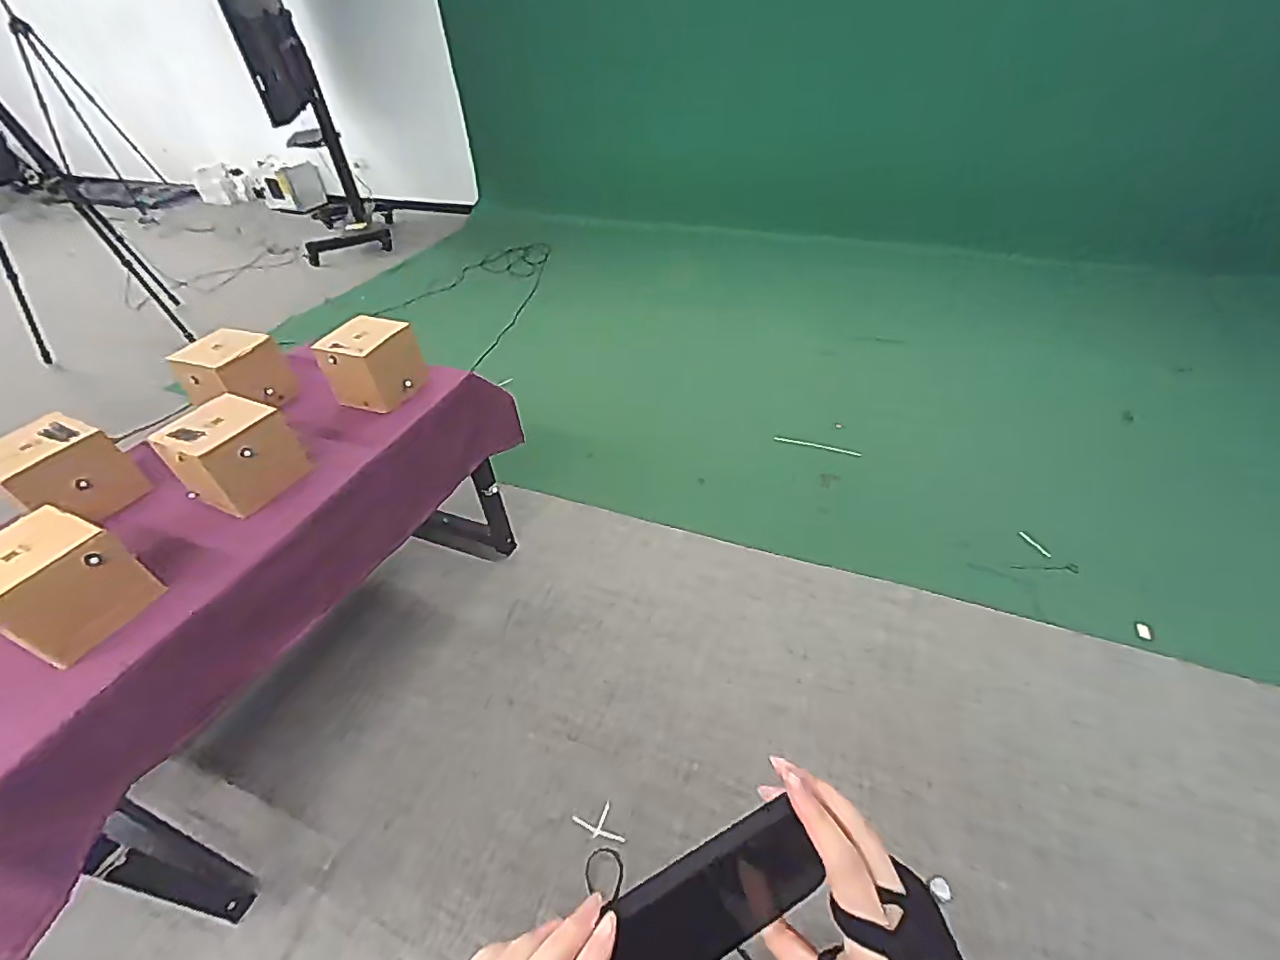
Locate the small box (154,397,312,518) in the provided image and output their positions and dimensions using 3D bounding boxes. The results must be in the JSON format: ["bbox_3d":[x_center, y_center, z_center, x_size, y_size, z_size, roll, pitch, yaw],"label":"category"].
[{"bbox_3d":[-0.844,-0.047,1.143,0.168,0.176,0.179,16,45,20],"label":"small box"}]

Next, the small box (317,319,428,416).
[{"bbox_3d":[-0.677,-0.292,1.397,0.168,0.176,0.179,12,45,18],"label":"small box"}]

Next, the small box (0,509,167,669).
[{"bbox_3d":[-0.965,0.182,0.903,0.168,0.176,0.179,14,44,19],"label":"small box"}]

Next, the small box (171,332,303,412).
[{"bbox_3d":[-1.020,-0.257,1.385,0.179,0.176,0.168,12,45,16],"label":"small box"}]
